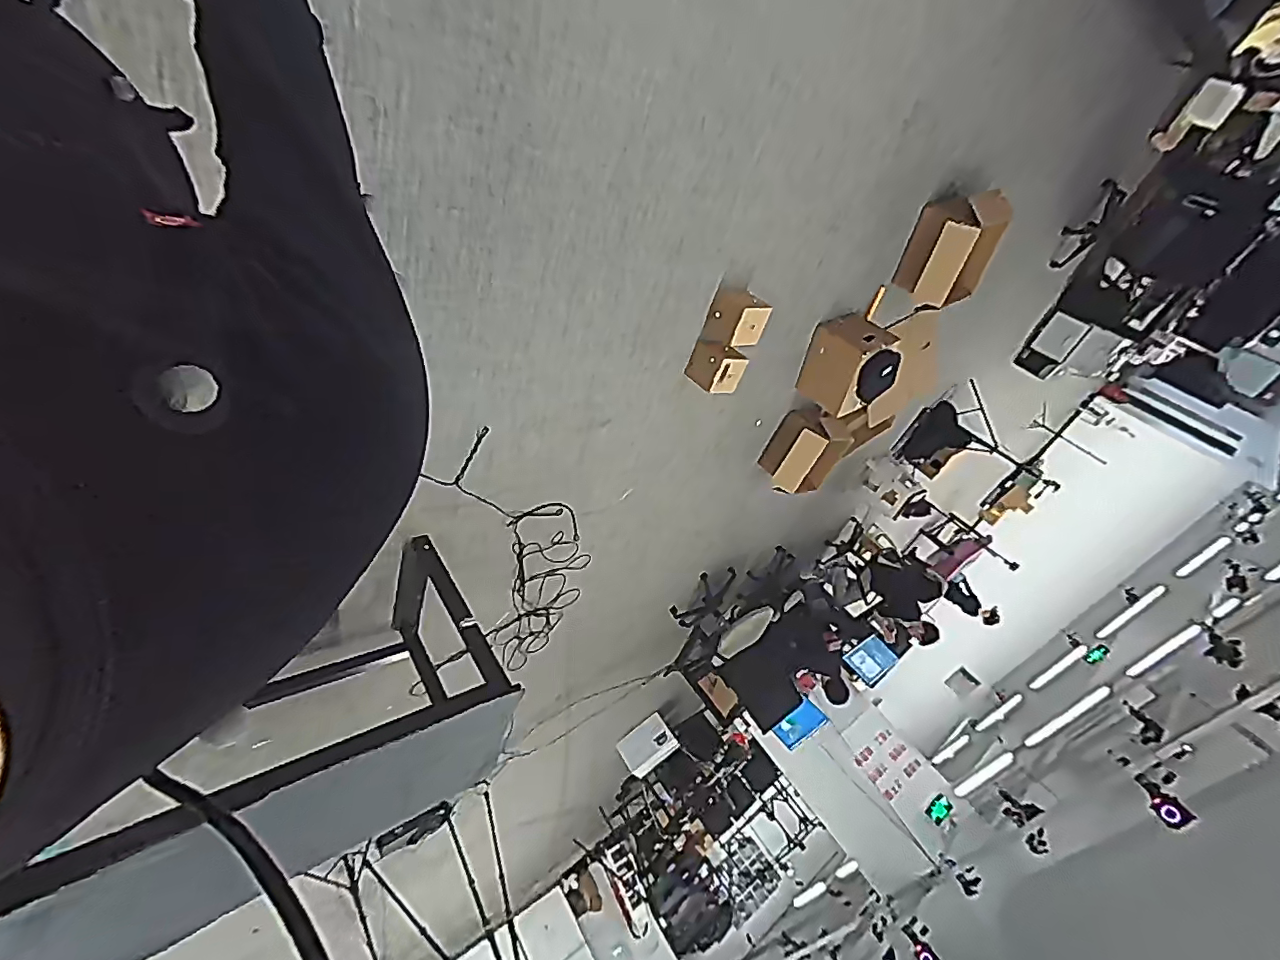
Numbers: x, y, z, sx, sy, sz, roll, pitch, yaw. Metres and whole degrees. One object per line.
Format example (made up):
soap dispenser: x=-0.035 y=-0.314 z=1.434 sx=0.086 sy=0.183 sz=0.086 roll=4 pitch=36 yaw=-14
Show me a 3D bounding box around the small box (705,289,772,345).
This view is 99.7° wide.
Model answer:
small box: x=0.399 y=-0.671 z=2.215 sx=0.179 sy=0.176 sz=0.168 roll=-14 pitch=137 yaw=-38
